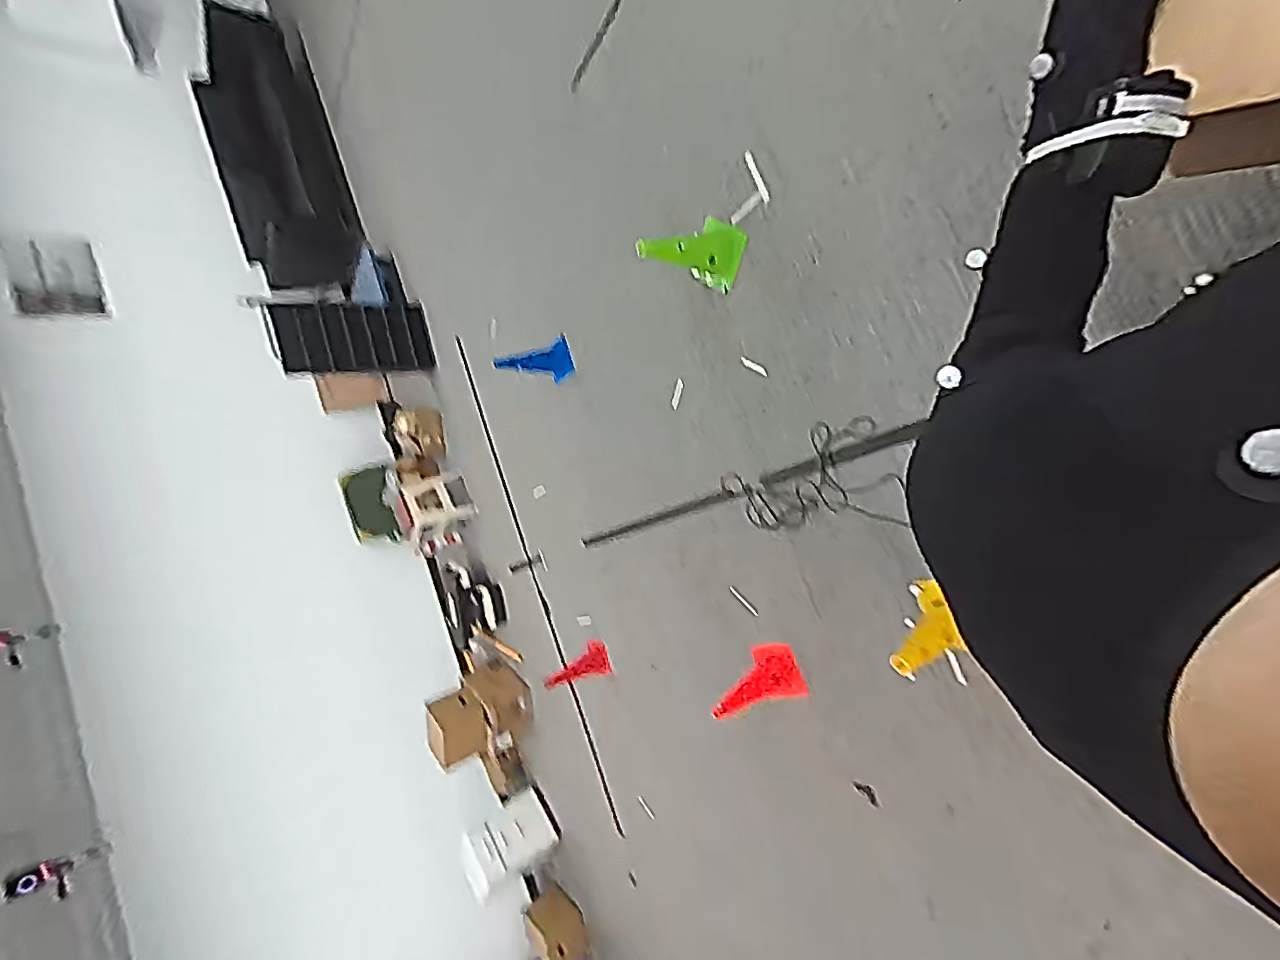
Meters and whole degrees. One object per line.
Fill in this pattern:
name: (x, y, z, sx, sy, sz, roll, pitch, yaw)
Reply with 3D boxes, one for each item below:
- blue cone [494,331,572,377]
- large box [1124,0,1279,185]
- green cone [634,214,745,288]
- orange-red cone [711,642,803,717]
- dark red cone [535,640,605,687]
blue cone: (-0.537, -0.607, 2.656, 0.193, 0.380, 0.192, -20, 85, 51)
large box: (0.585, -0.401, 0.313, 0.408, 0.320, 0.320, 14, 114, 45)
green cone: (0.134, -0.758, 1.756, 0.202, 0.368, 0.200, 45, 132, 34)
orange-red cone: (0.386, 0.748, 1.939, 0.199, 0.360, 0.198, -29, 80, 49)
dark red cone: (-0.390, 1.031, 2.943, 0.202, 0.394, 0.201, -16, 88, 52)
